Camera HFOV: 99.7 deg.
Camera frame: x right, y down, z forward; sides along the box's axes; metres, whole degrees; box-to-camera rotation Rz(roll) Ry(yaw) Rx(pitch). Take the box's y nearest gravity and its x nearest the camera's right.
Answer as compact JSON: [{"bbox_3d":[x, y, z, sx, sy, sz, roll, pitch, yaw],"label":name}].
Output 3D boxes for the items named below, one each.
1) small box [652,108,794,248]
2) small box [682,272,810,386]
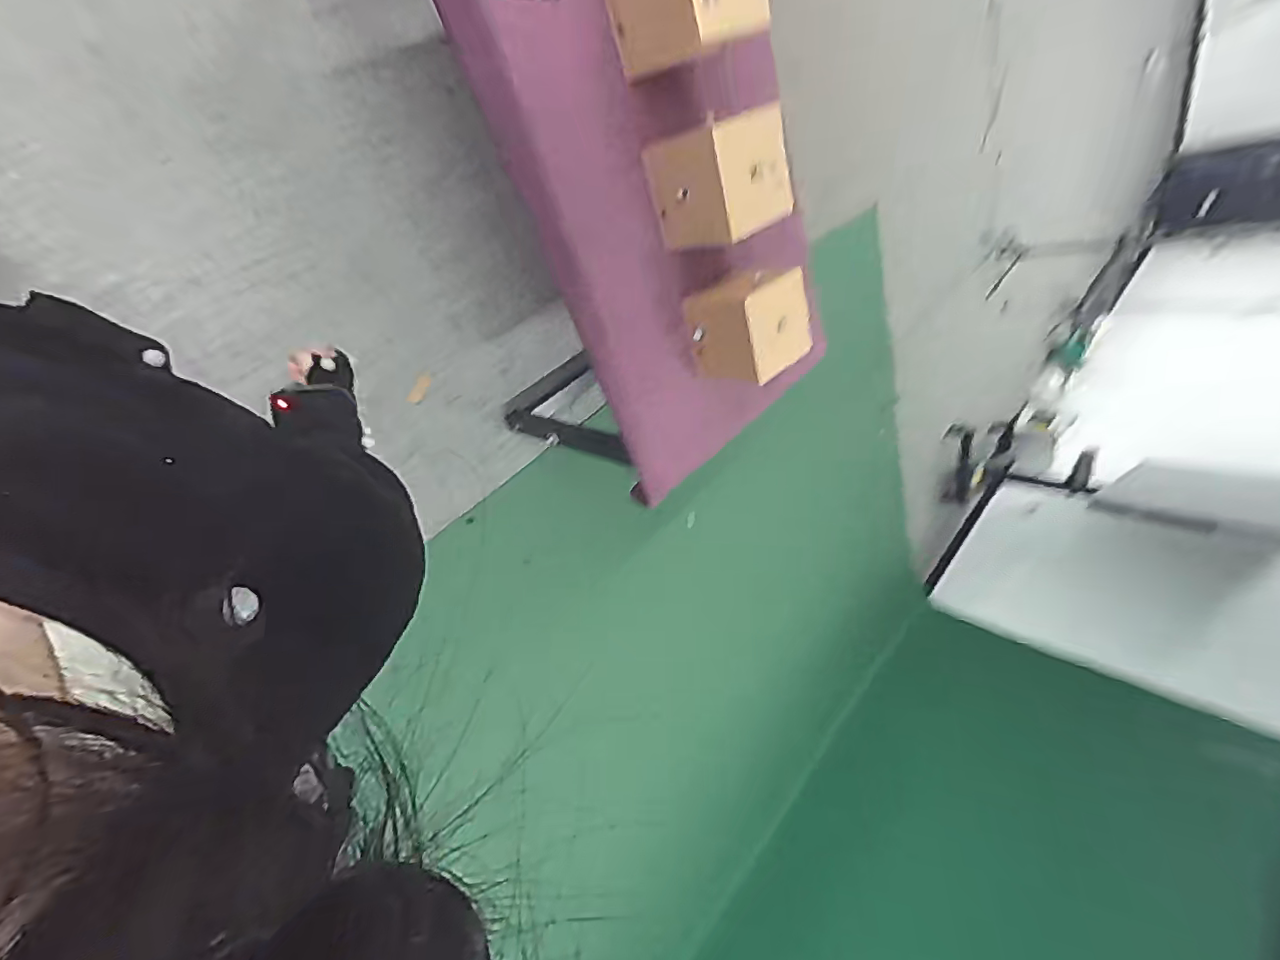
[{"bbox_3d":[0.139,-0.515,0.939,0.179,0.176,0.168,-36,125,-28],"label":"small box"},{"bbox_3d":[0.211,-0.303,1.072,0.179,0.176,0.168,-35,123,-29],"label":"small box"}]
